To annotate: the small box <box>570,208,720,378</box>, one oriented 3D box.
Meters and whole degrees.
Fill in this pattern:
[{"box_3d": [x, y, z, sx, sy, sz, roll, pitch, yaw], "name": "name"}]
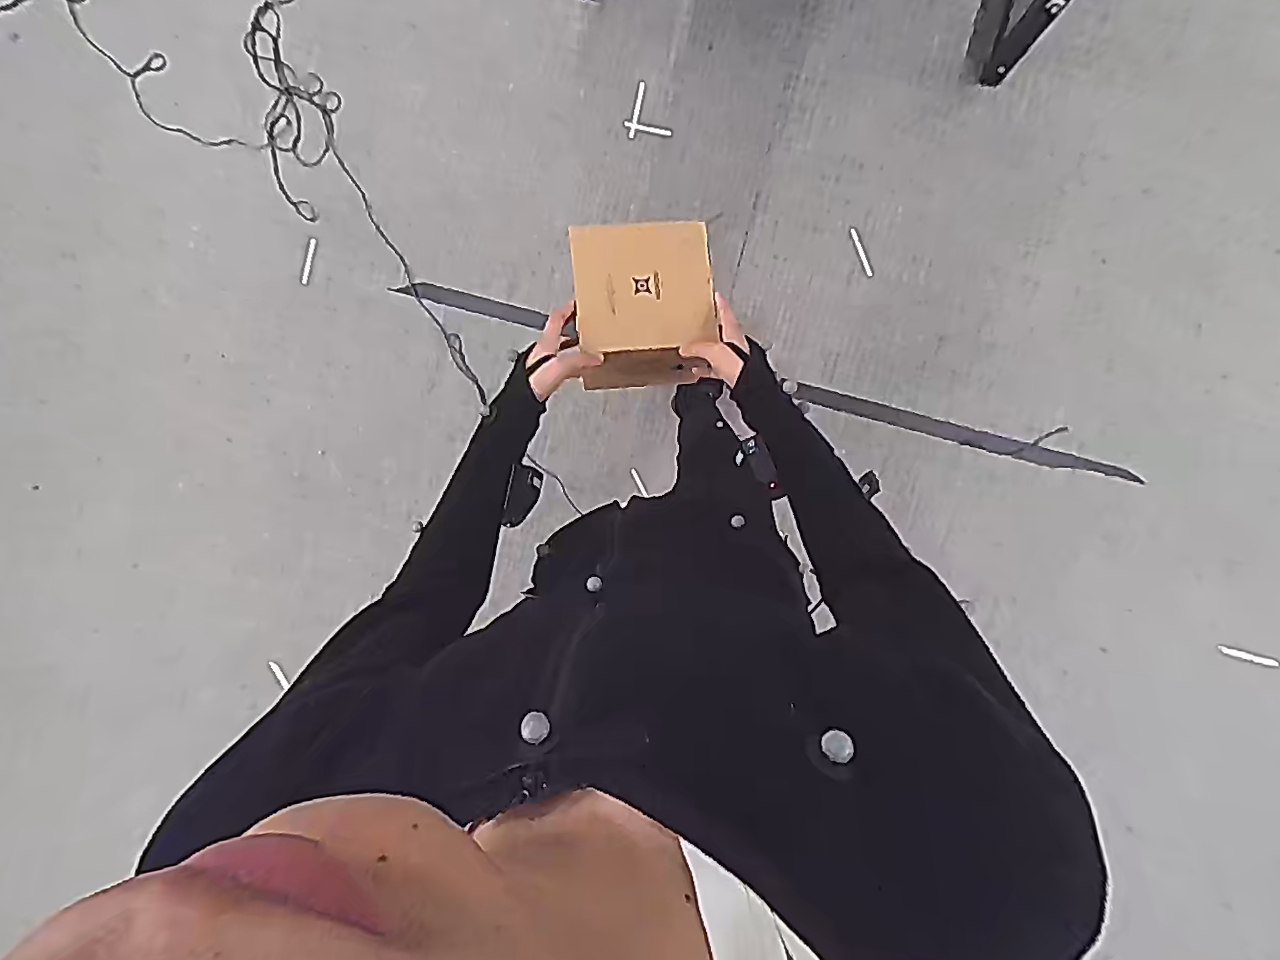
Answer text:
[{"box_3d": [-0.002, -0.245, 0.738, 0.179, 0.176, 0.168, -5, 84, -6], "name": "small box"}]
